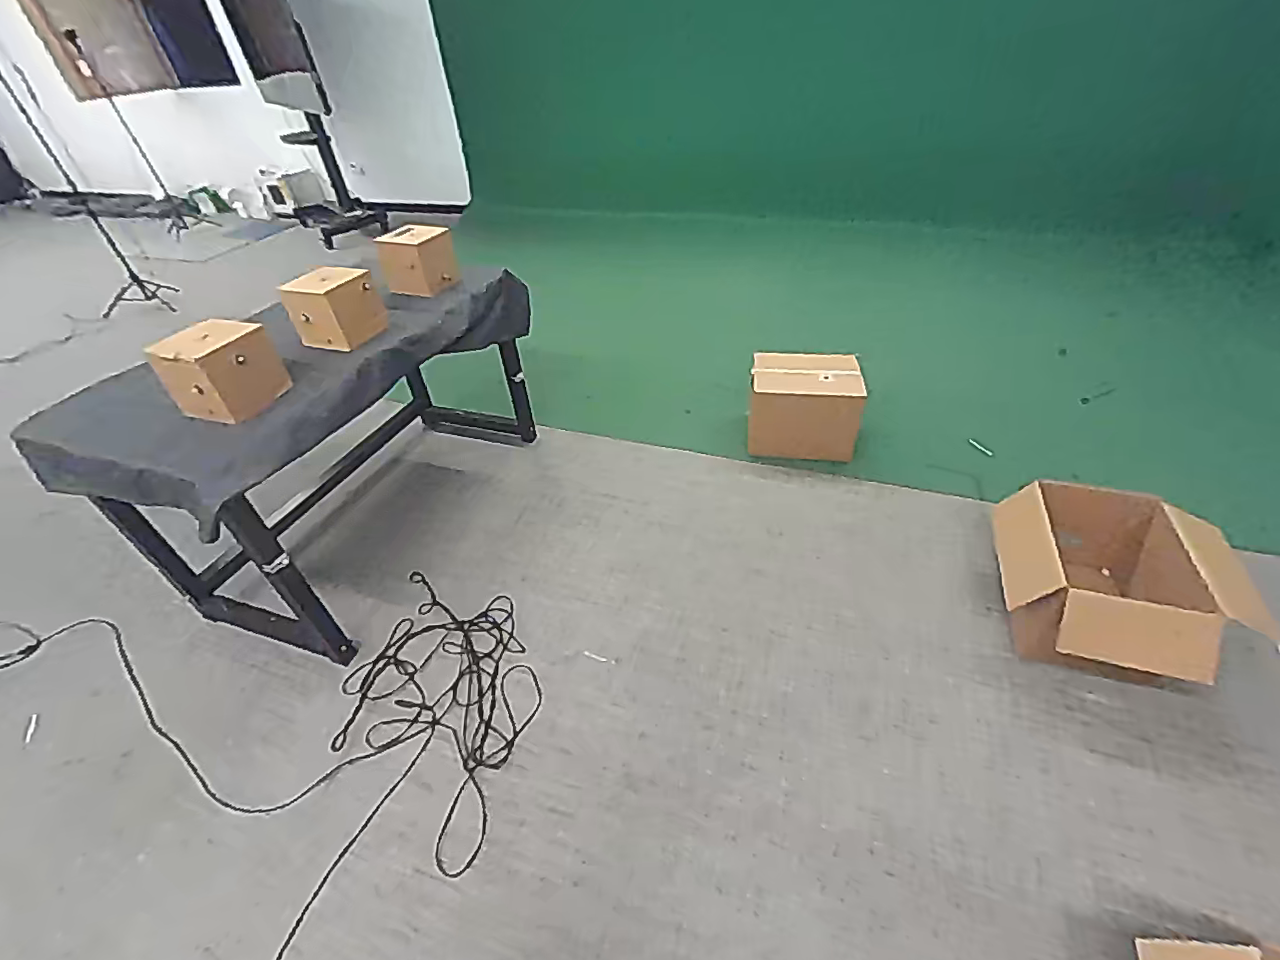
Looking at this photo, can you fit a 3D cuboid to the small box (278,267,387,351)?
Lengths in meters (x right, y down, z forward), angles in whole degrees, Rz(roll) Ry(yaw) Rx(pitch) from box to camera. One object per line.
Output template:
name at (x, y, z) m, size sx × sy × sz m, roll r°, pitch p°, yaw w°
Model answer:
small box at (-0.840, -0.474, 1.498) m, size 0.168 × 0.176 × 0.179 m, roll 11°, pitch 41°, yaw 17°

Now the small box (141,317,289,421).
small box at (-0.961, -0.254, 1.243) m, size 0.168 × 0.176 × 0.179 m, roll 11°, pitch 41°, yaw 15°
